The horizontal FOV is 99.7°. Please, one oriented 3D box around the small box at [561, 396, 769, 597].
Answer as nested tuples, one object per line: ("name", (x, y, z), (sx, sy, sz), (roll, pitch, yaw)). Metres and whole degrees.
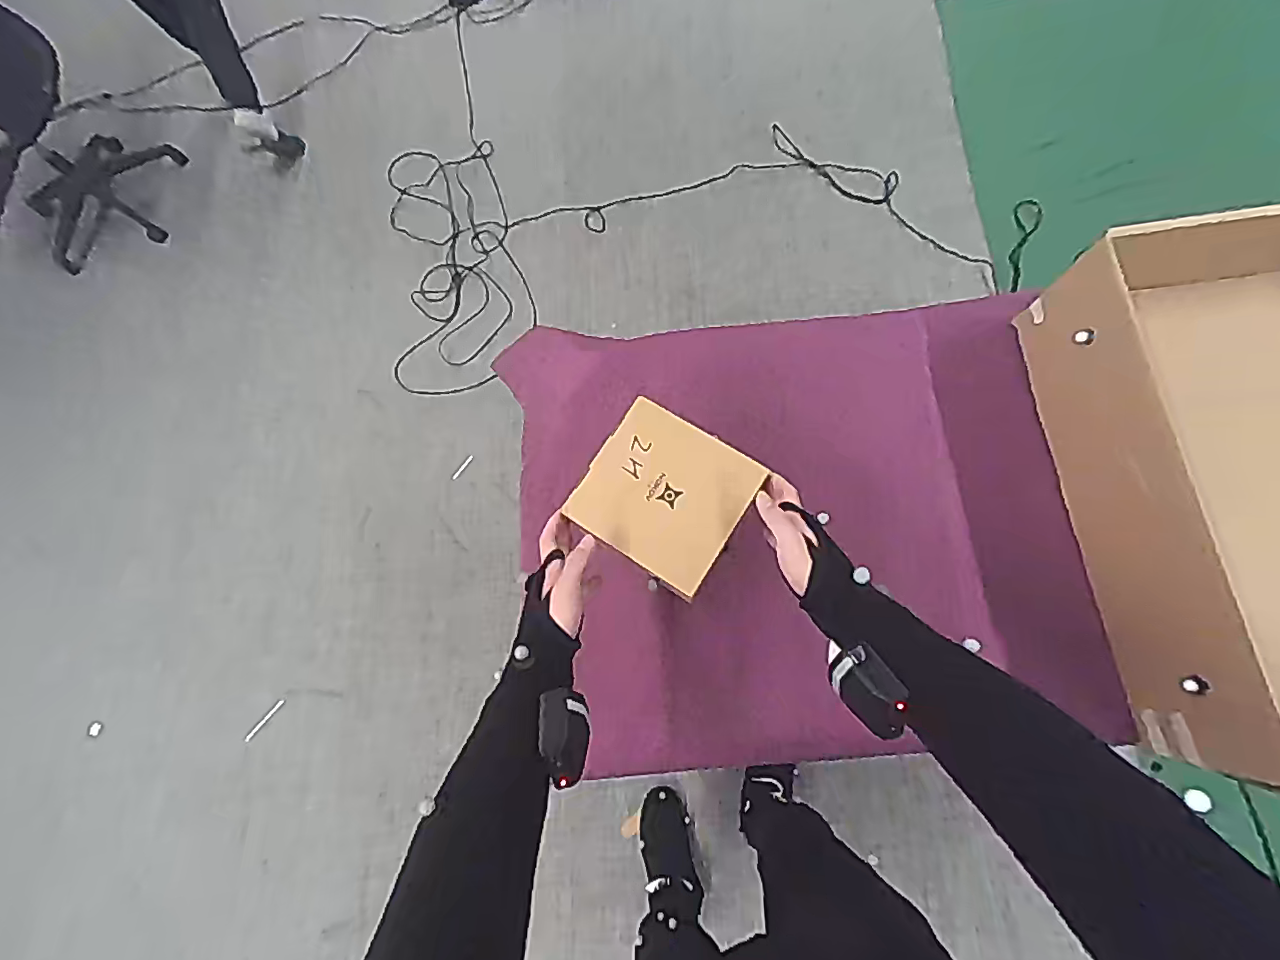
("small box", (0.033, 0.030, 0.674), (0.179, 0.176, 0.168), (33, 80, 11))
